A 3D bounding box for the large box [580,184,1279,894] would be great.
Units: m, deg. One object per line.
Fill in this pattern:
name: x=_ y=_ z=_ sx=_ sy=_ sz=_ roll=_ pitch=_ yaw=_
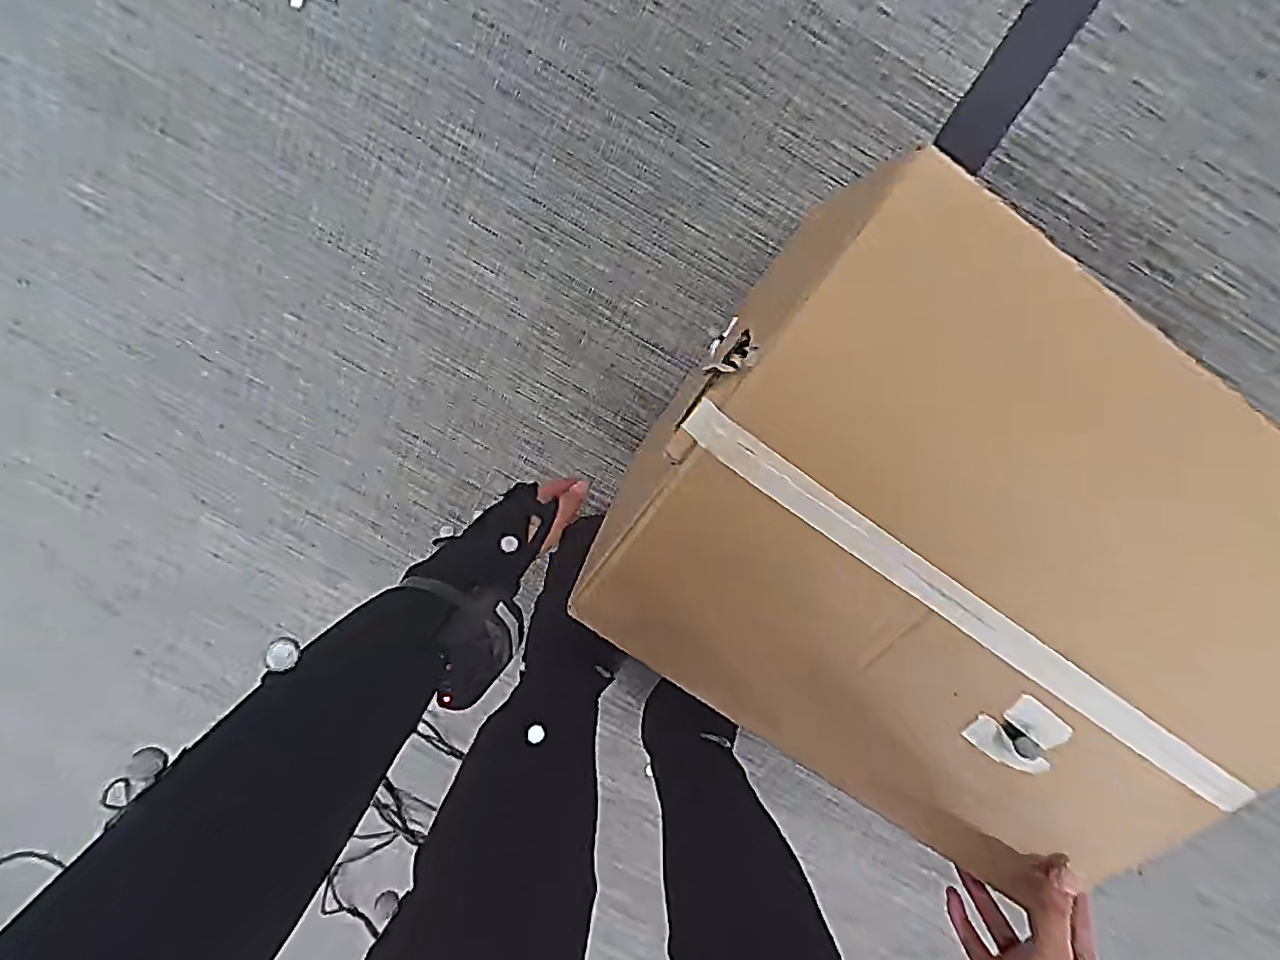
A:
large box: x=0.219 y=0.030 z=0.459 sx=0.408 sy=0.320 sz=0.320 roll=34 pitch=112 yaw=-7
